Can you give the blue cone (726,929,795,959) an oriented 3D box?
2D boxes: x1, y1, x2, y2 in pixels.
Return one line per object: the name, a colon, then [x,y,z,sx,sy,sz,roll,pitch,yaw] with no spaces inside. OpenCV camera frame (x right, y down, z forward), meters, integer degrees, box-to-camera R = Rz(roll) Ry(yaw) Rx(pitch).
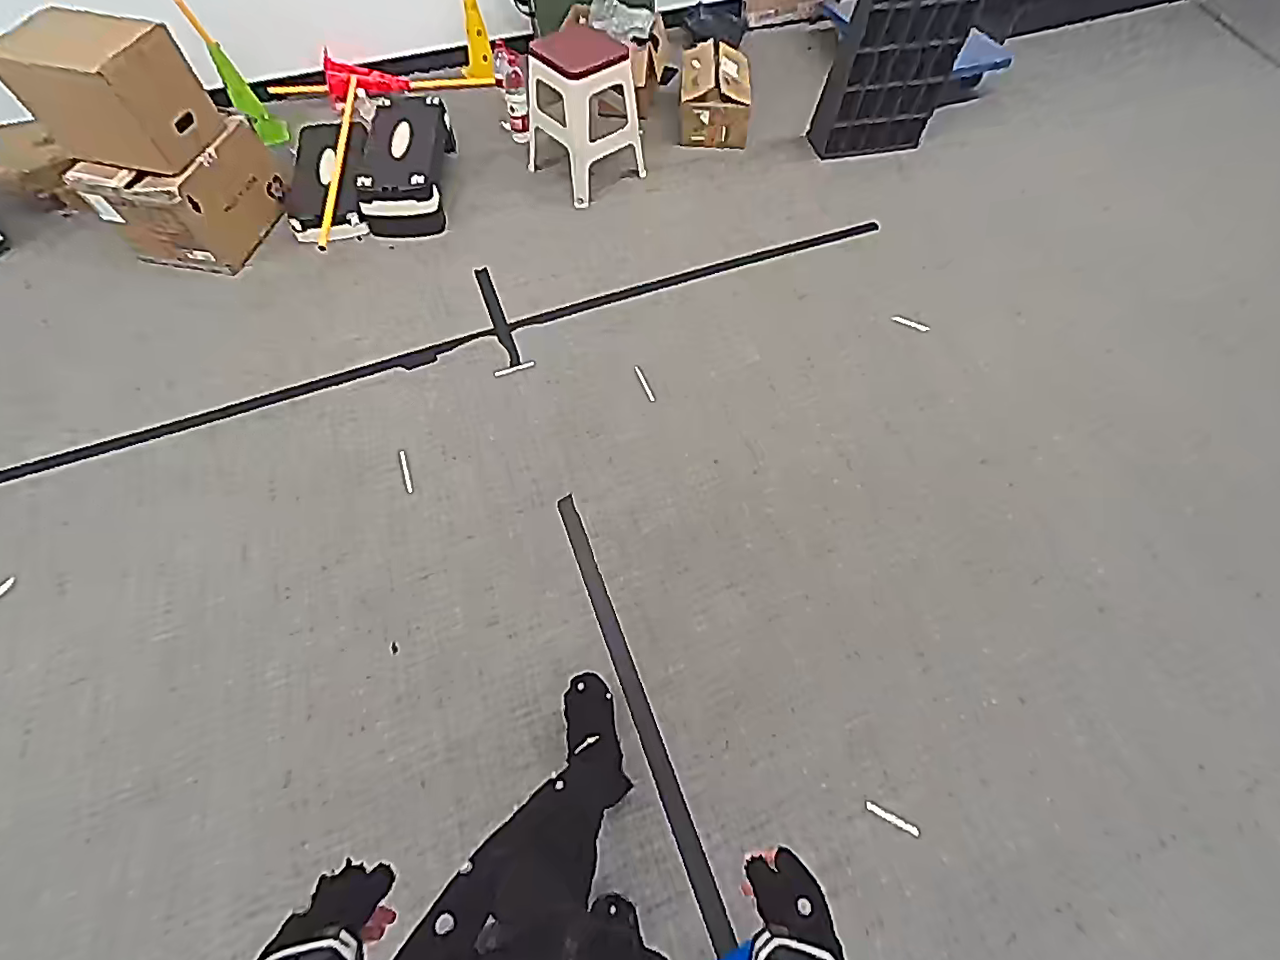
blue cone: [0.245,0.943,0.911,0.192,0.380,0.193,-21,64,-14]
